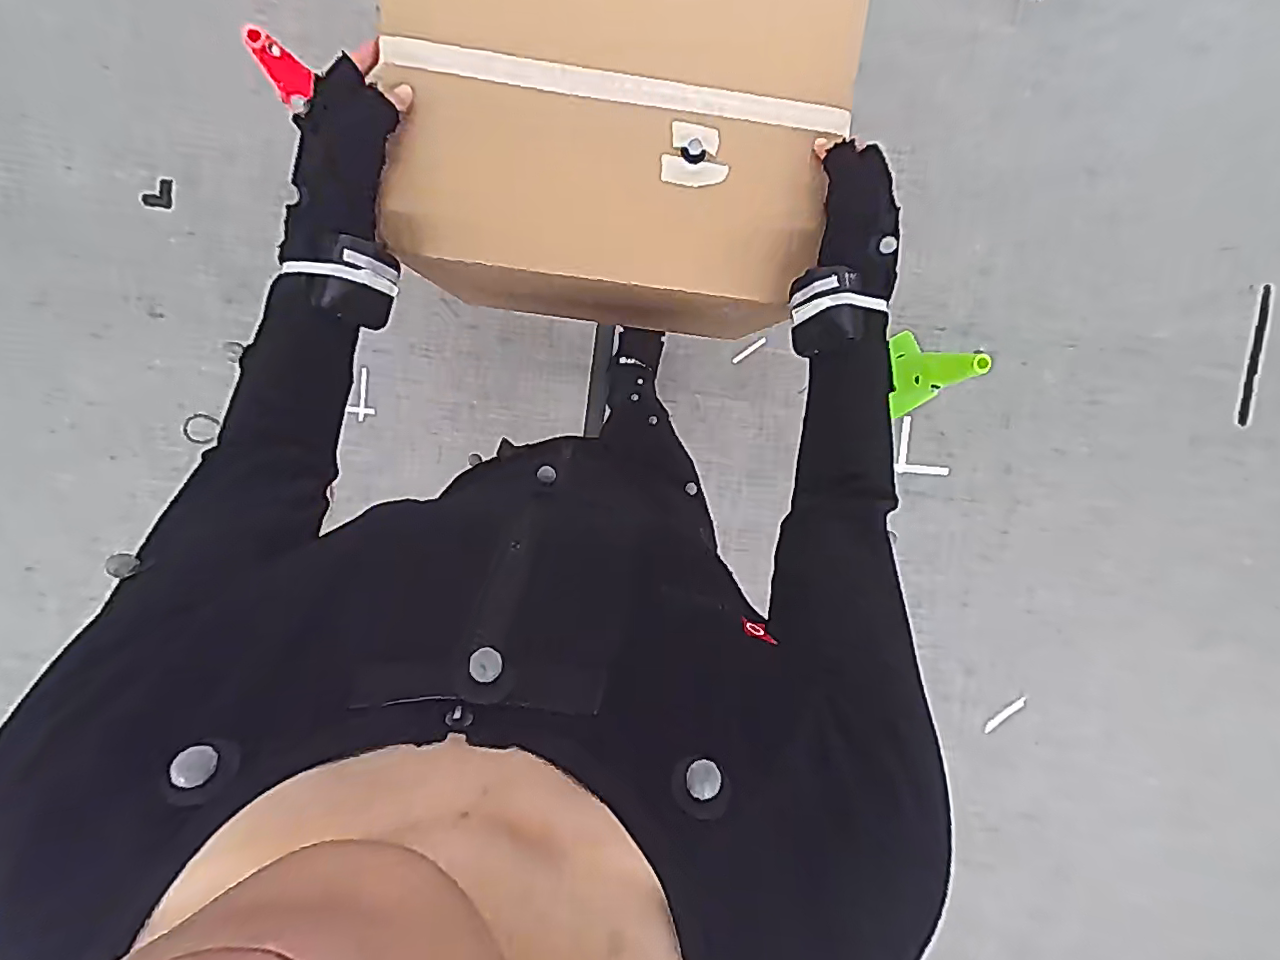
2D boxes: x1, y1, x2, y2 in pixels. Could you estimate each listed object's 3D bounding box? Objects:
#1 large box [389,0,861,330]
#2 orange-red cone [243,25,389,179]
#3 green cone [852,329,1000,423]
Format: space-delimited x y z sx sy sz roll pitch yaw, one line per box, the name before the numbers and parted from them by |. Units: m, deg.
large box | -0.025 -0.366 0.618 0.408 0.320 0.320 6 99 -6
orange-red cone | -0.712 -0.829 1.159 0.198 0.360 0.199 4 97 -3
green cone | 0.712 -0.265 1.301 0.202 0.368 0.200 -31 98 -1
